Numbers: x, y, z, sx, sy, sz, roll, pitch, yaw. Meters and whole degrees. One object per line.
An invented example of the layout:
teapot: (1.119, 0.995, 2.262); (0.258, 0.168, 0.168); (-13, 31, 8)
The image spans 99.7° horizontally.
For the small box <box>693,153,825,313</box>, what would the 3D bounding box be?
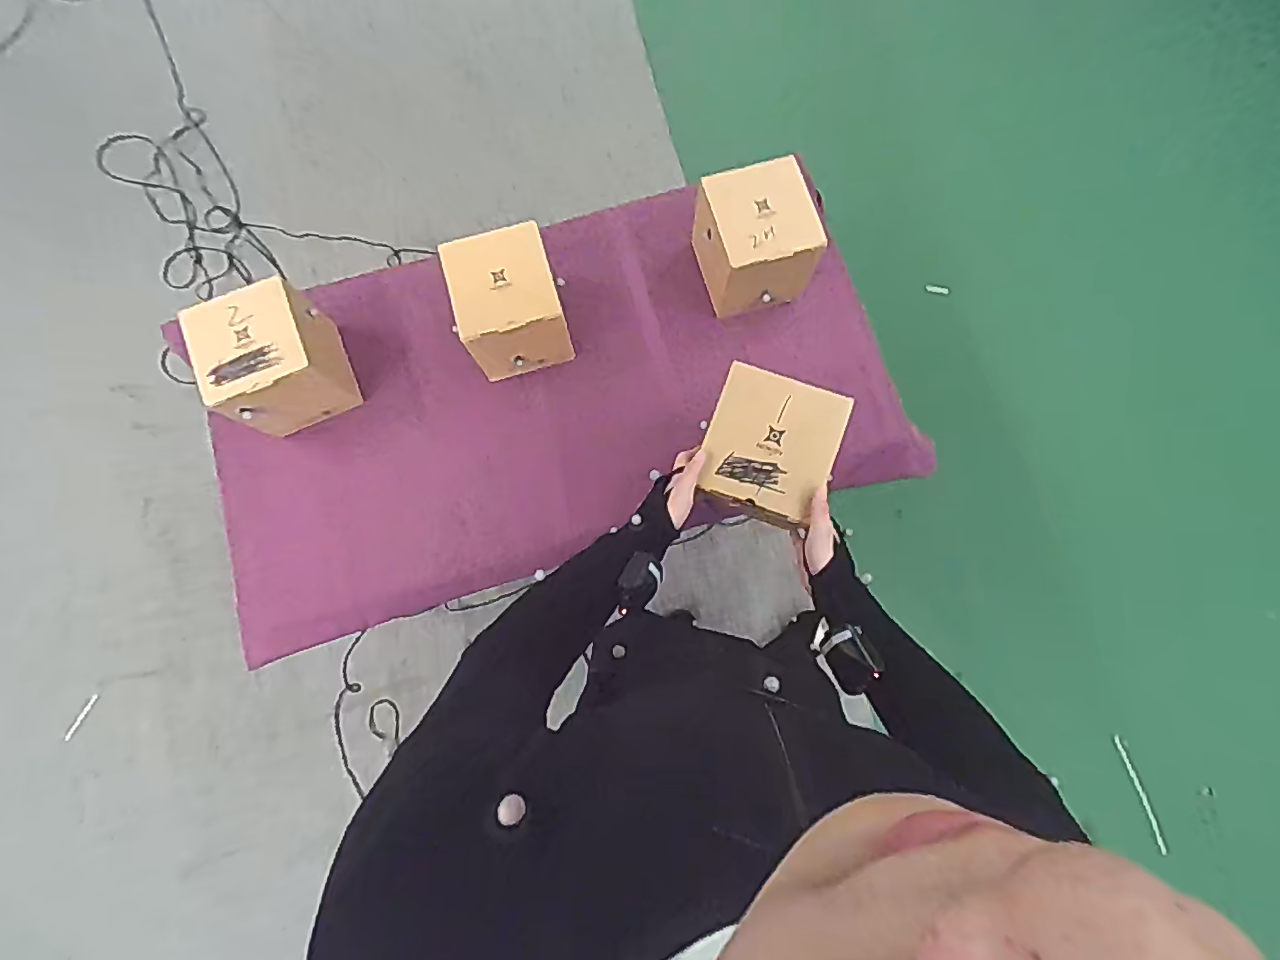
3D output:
small box: (0.197, -0.427, 0.956); (0.168, 0.176, 0.179); (-15, 80, -2)

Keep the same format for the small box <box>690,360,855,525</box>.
small box: (0.178, -0.041, 0.773); (0.168, 0.176, 0.179); (21, 85, 6)

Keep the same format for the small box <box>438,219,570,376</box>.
small box: (-0.225, -0.306, 0.933); (0.168, 0.176, 0.179); (-17, 81, -4)
